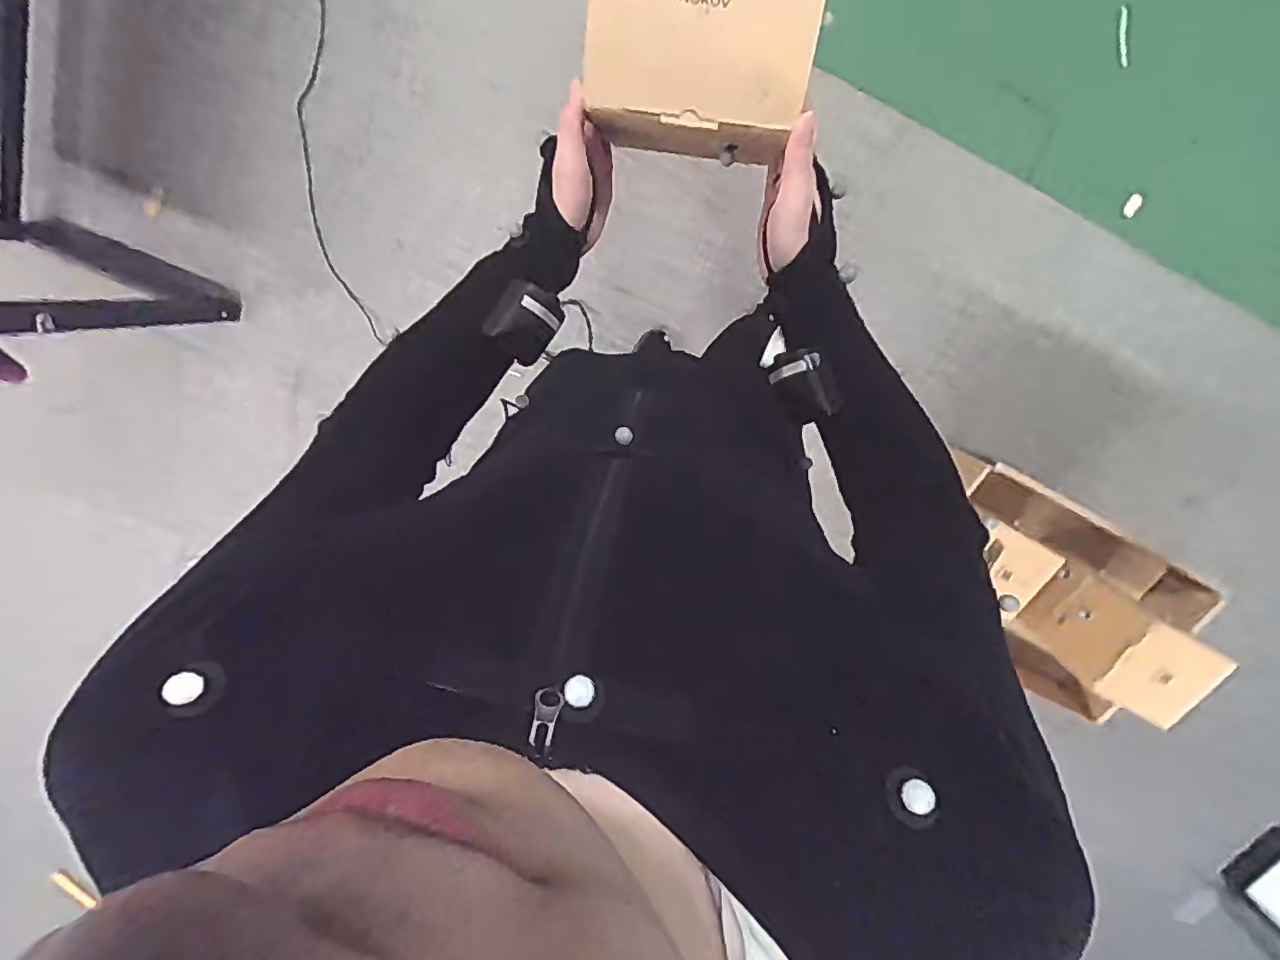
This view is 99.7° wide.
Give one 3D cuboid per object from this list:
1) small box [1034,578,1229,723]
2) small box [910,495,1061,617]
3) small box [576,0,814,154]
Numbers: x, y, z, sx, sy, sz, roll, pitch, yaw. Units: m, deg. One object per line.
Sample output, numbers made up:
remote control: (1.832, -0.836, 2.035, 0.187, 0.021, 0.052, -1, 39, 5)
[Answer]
small box: (0.922, 0.316, 1.034, 0.179, 0.176, 0.168, 28, 108, -5)
small box: (0.722, 0.152, 1.155, 0.179, 0.176, 0.168, 28, 108, -8)
small box: (0.049, -0.384, 0.444, 0.168, 0.176, 0.179, 8, 114, 1)
